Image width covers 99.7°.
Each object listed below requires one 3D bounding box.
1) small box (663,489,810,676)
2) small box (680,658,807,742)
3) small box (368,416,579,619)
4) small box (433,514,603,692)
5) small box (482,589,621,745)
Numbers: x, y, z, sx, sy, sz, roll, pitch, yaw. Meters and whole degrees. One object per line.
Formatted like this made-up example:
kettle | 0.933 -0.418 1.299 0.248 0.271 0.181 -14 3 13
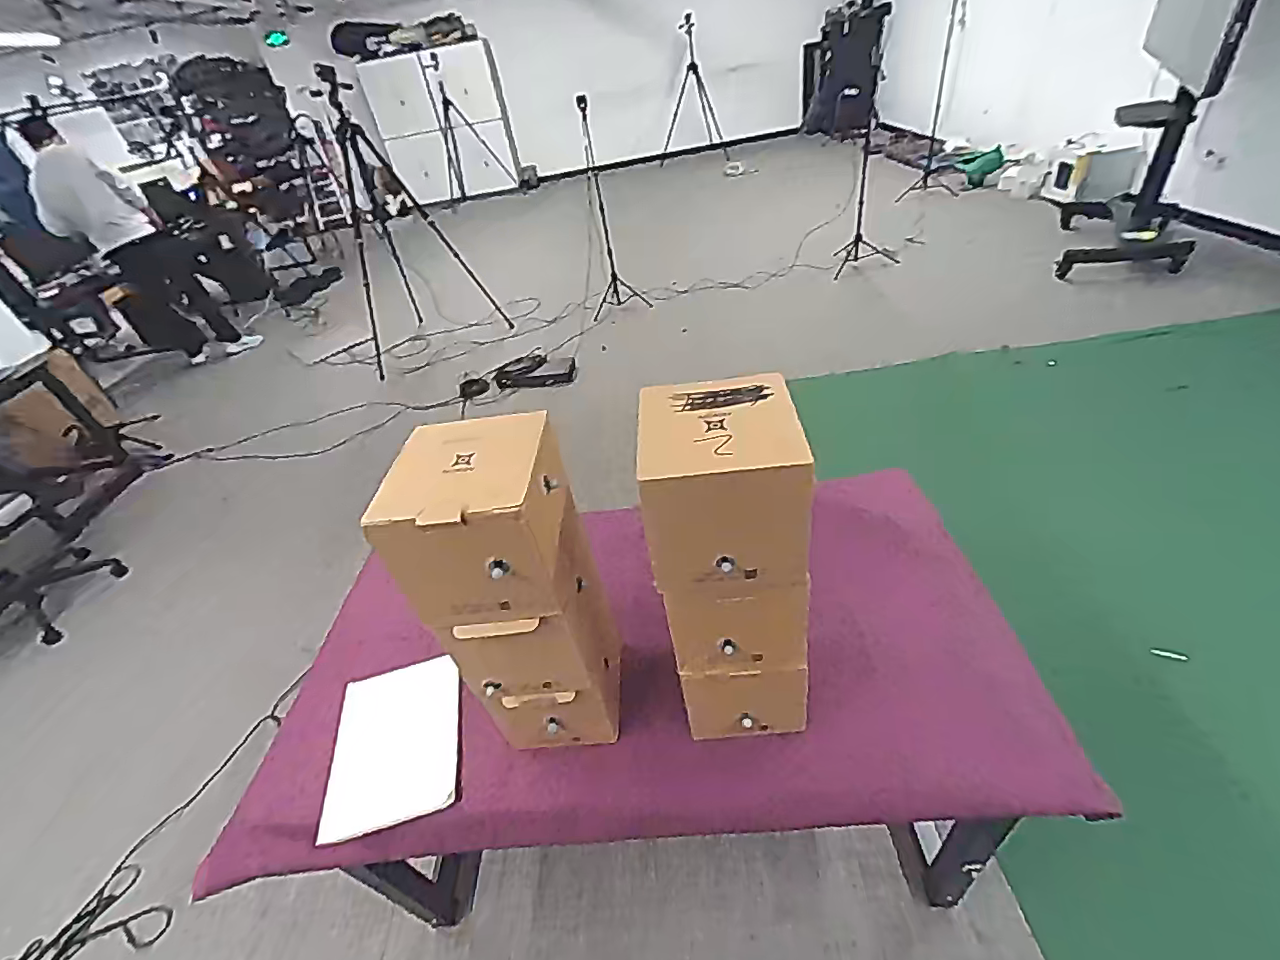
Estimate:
small box | 0.120 0.135 0.720 0.168 0.176 0.179 -6 38 6
small box | 0.147 0.265 0.813 0.168 0.176 0.179 -8 37 7
small box | -0.174 0.049 0.635 0.168 0.176 0.179 -6 38 6
small box | -0.150 0.172 0.739 0.168 0.176 0.179 -7 37 6
small box | -0.125 0.296 0.845 0.168 0.176 0.179 -6 39 5
